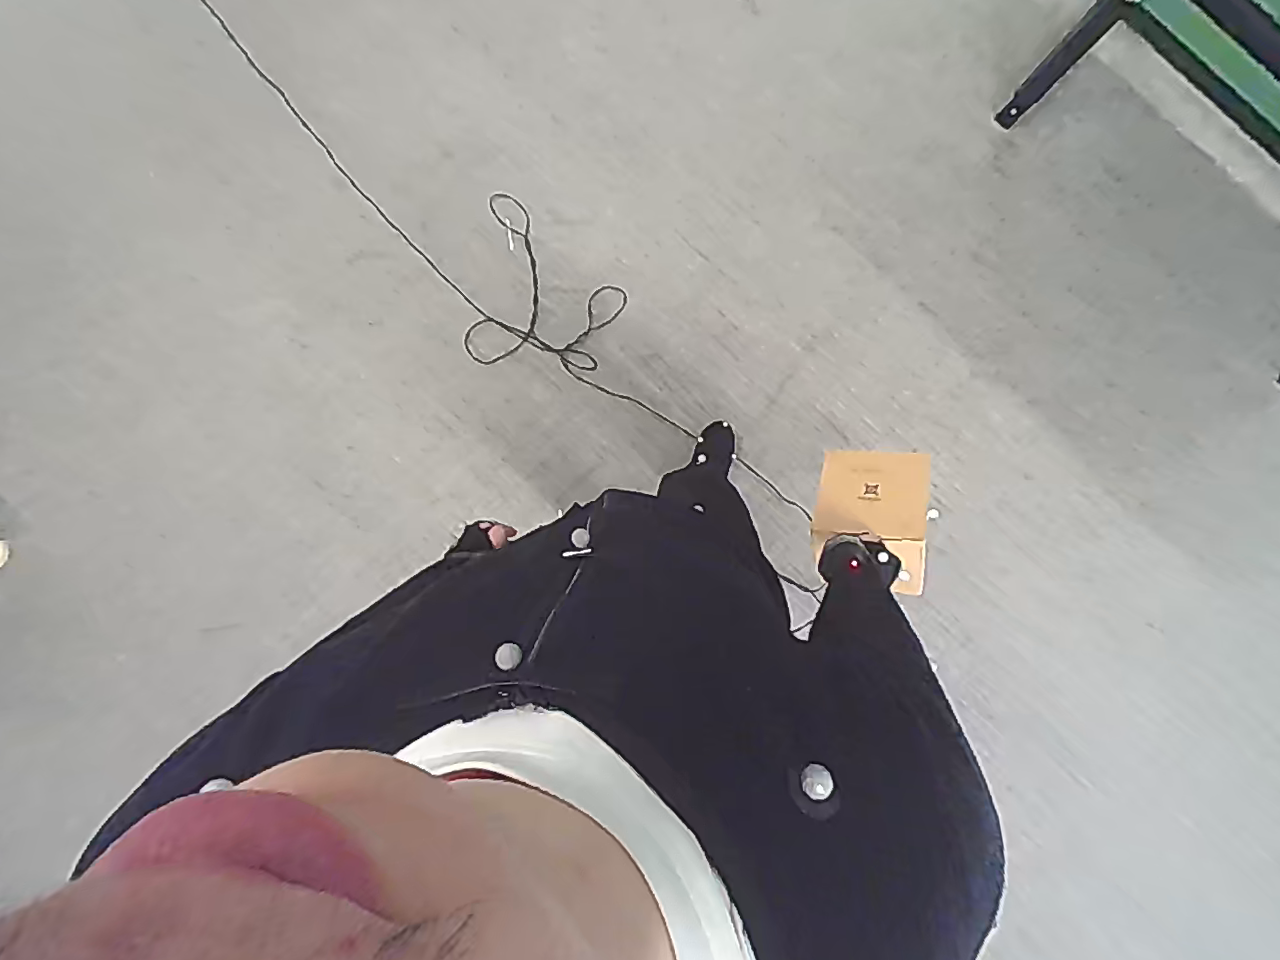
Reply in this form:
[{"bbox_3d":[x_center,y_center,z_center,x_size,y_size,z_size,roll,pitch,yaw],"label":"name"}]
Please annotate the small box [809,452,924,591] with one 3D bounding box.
[{"bbox_3d":[0.395,0.072,0.934,0.168,0.176,0.179,2,51,25],"label":"small box"}]
